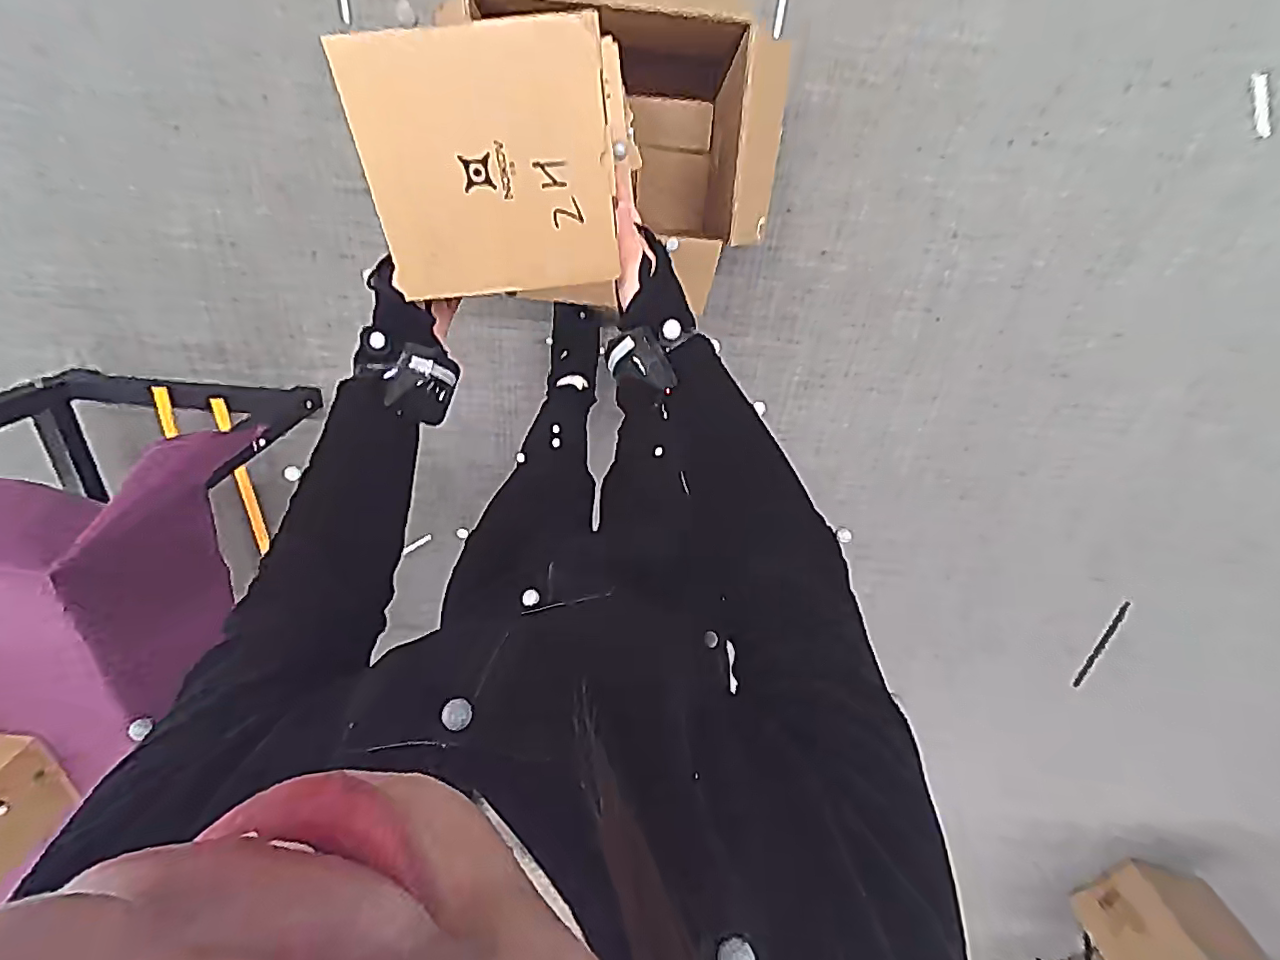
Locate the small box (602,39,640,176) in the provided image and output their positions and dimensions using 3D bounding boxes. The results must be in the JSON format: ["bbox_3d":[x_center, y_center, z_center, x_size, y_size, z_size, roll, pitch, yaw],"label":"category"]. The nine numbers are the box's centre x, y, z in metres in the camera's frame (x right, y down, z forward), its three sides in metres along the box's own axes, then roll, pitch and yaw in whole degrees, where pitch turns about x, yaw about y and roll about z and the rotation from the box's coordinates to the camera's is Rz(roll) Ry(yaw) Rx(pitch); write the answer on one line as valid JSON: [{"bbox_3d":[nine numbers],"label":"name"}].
[{"bbox_3d":[-0.109,-0.565,0.865,0.179,0.176,0.168,-16,121,4],"label":"small box"}]

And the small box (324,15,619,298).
[{"bbox_3d":[-0.111,-0.261,0.446,0.179,0.176,0.168,-6,126,-1],"label":"small box"}]

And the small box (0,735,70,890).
[{"bbox_3d":[-1.014,0.496,0.796,0.179,0.176,0.168,4,118,-3],"label":"small box"}]
